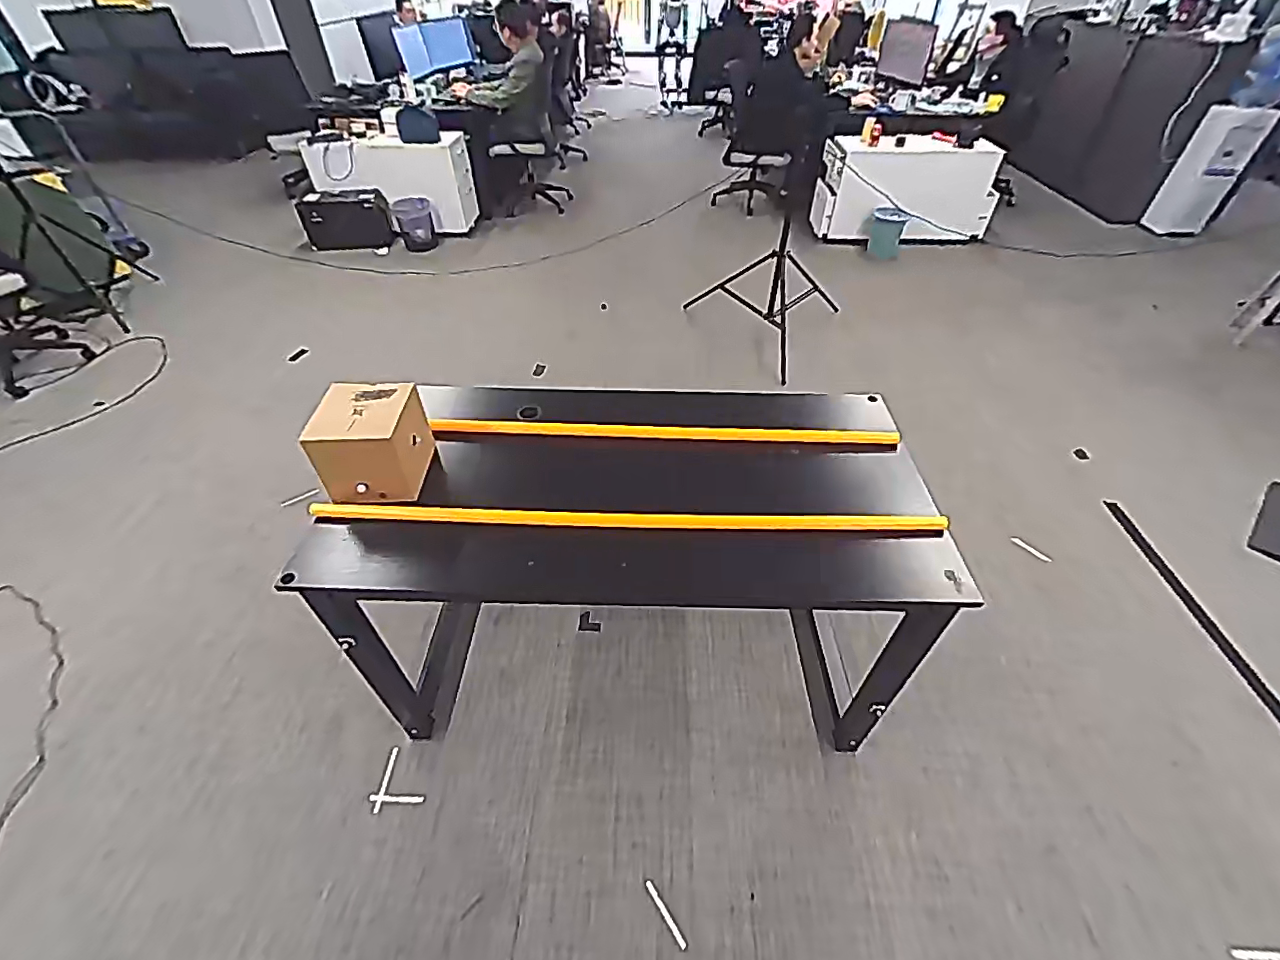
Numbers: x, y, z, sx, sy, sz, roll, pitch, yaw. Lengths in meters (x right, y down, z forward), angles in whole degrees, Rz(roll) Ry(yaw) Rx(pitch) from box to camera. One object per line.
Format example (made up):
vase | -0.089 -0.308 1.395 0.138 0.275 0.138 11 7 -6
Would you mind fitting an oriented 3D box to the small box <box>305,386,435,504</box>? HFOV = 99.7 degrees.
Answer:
small box | -0.524 -0.071 1.083 0.168 0.176 0.179 -2 45 -2
